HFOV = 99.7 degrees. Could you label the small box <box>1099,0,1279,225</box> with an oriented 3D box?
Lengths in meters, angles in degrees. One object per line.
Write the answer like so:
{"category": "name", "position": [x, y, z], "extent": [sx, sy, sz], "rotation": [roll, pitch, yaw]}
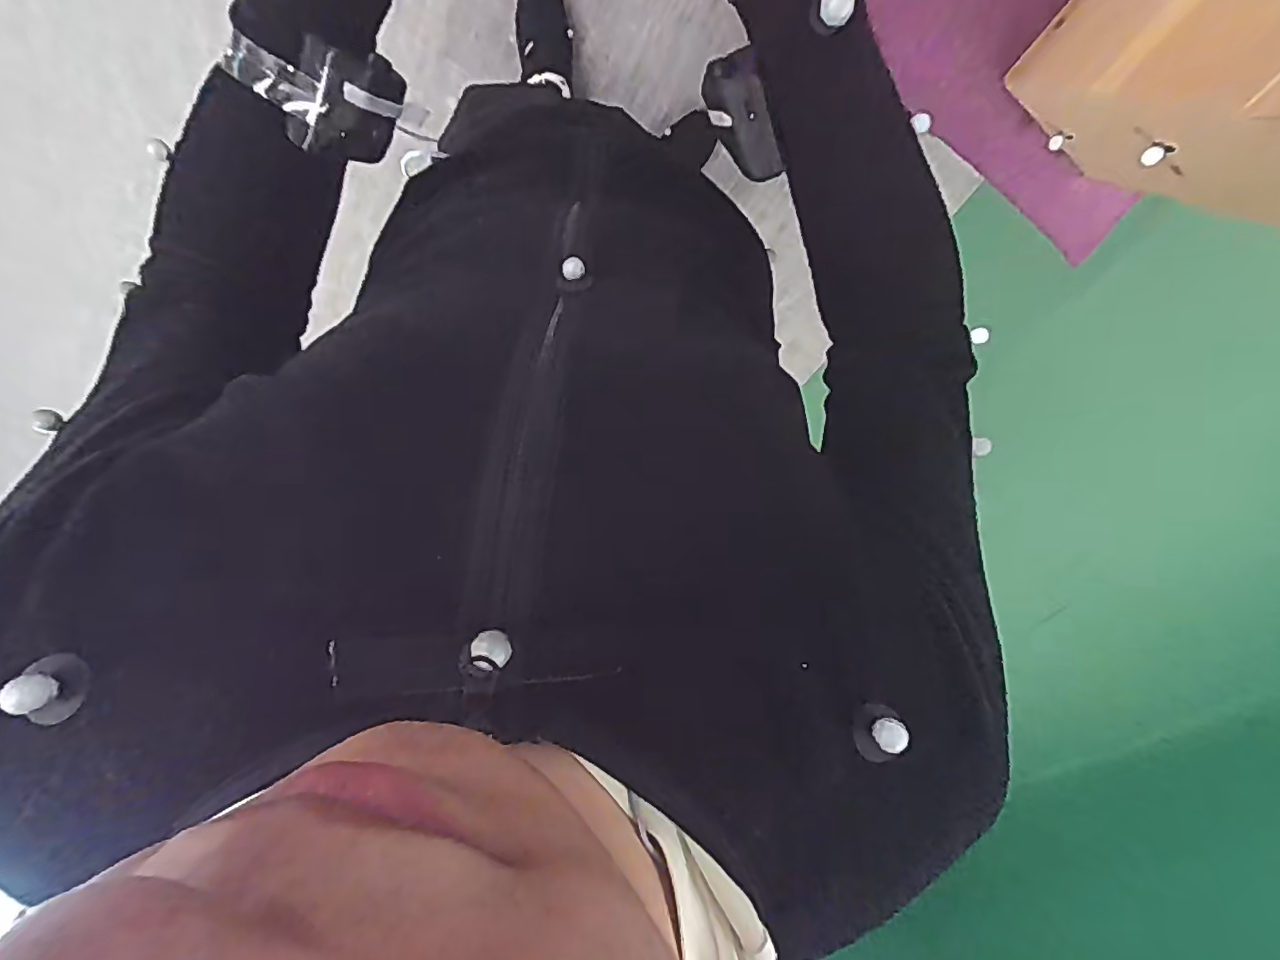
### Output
{"category": "small box", "position": [0.524, -0.328, 0.413], "extent": [0.168, 0.176, 0.179], "rotation": [28, 124, -18]}

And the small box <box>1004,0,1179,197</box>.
{"category": "small box", "position": [0.523, -0.427, 0.543], "extent": [0.179, 0.176, 0.168], "rotation": [28, 124, -20]}
